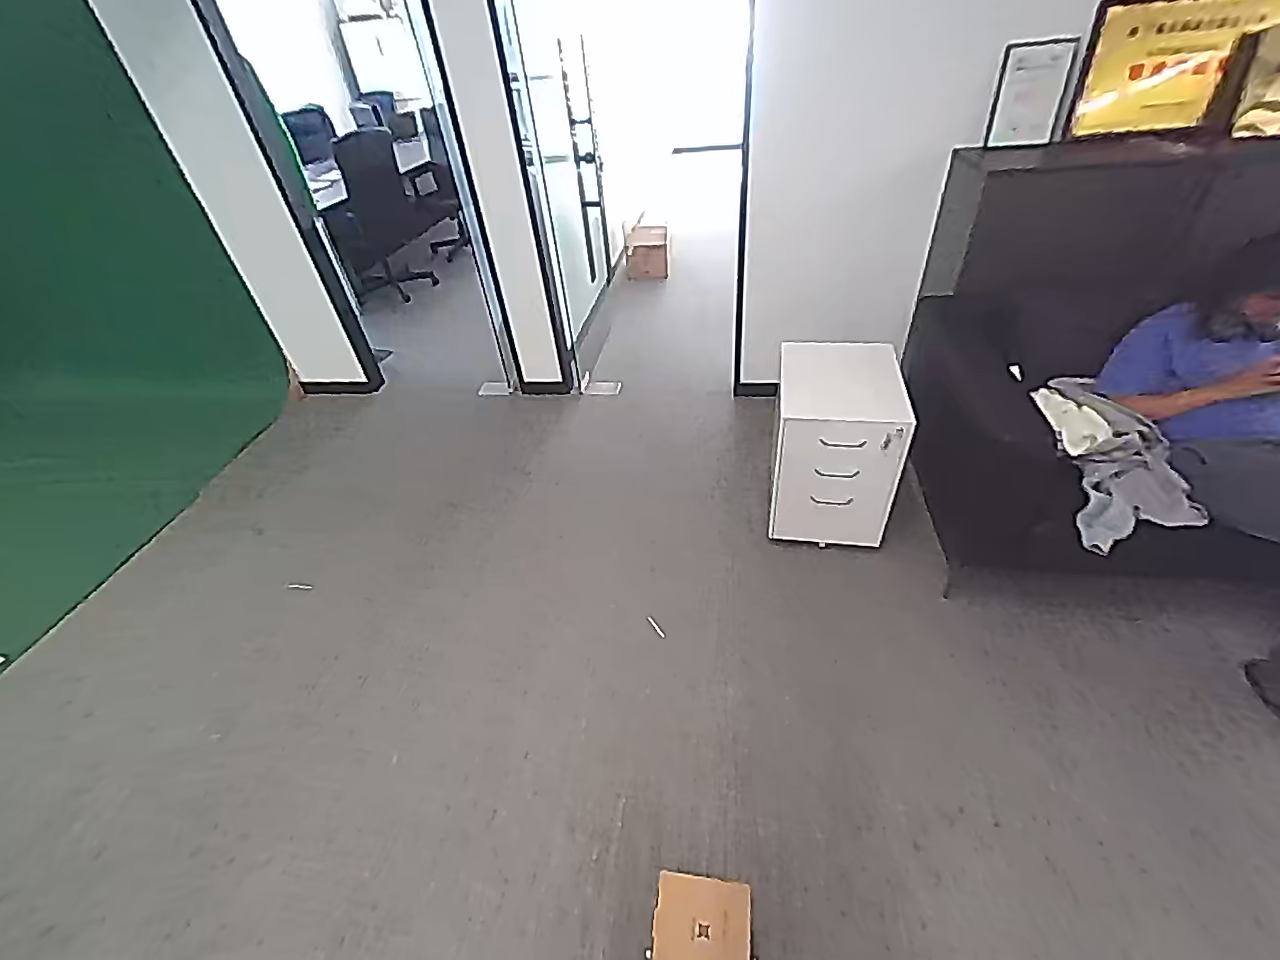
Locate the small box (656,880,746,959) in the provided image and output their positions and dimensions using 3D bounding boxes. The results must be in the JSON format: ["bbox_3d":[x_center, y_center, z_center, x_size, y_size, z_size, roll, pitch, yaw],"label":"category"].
[{"bbox_3d":[0.129,0.986,1.149,0.179,0.176,0.168,4,41,10],"label":"small box"}]
